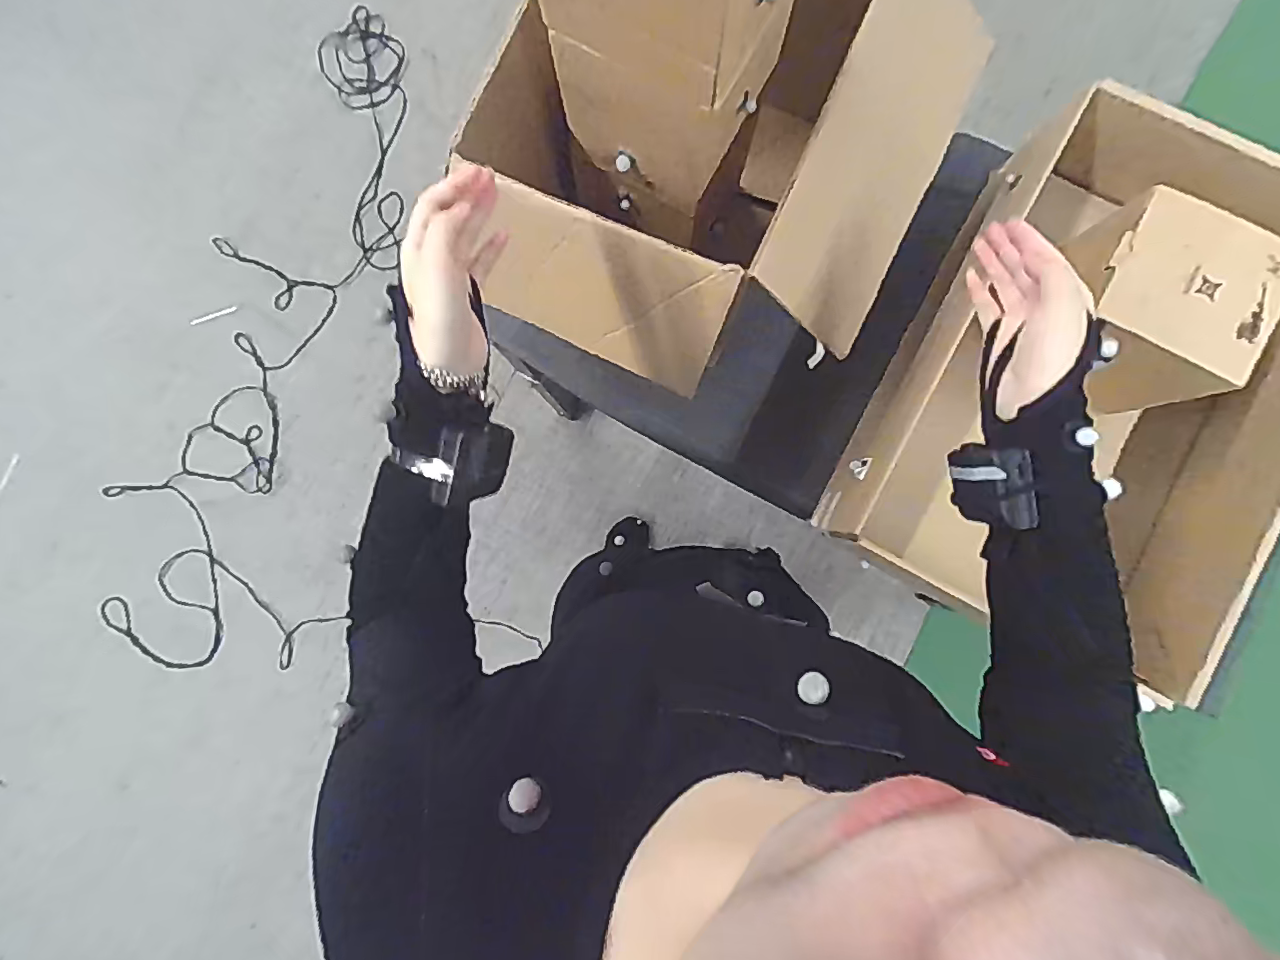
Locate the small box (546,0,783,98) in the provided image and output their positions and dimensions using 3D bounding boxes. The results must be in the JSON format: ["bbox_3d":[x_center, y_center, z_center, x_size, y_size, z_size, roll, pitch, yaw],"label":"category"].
[{"bbox_3d":[0.028,-0.434,0.394,0.179,0.176,0.168,31,88,2],"label":"small box"}]

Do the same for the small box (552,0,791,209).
[{"bbox_3d":[0.033,-0.427,0.555,0.168,0.176,0.179,30,90,3],"label":"small box"}]
